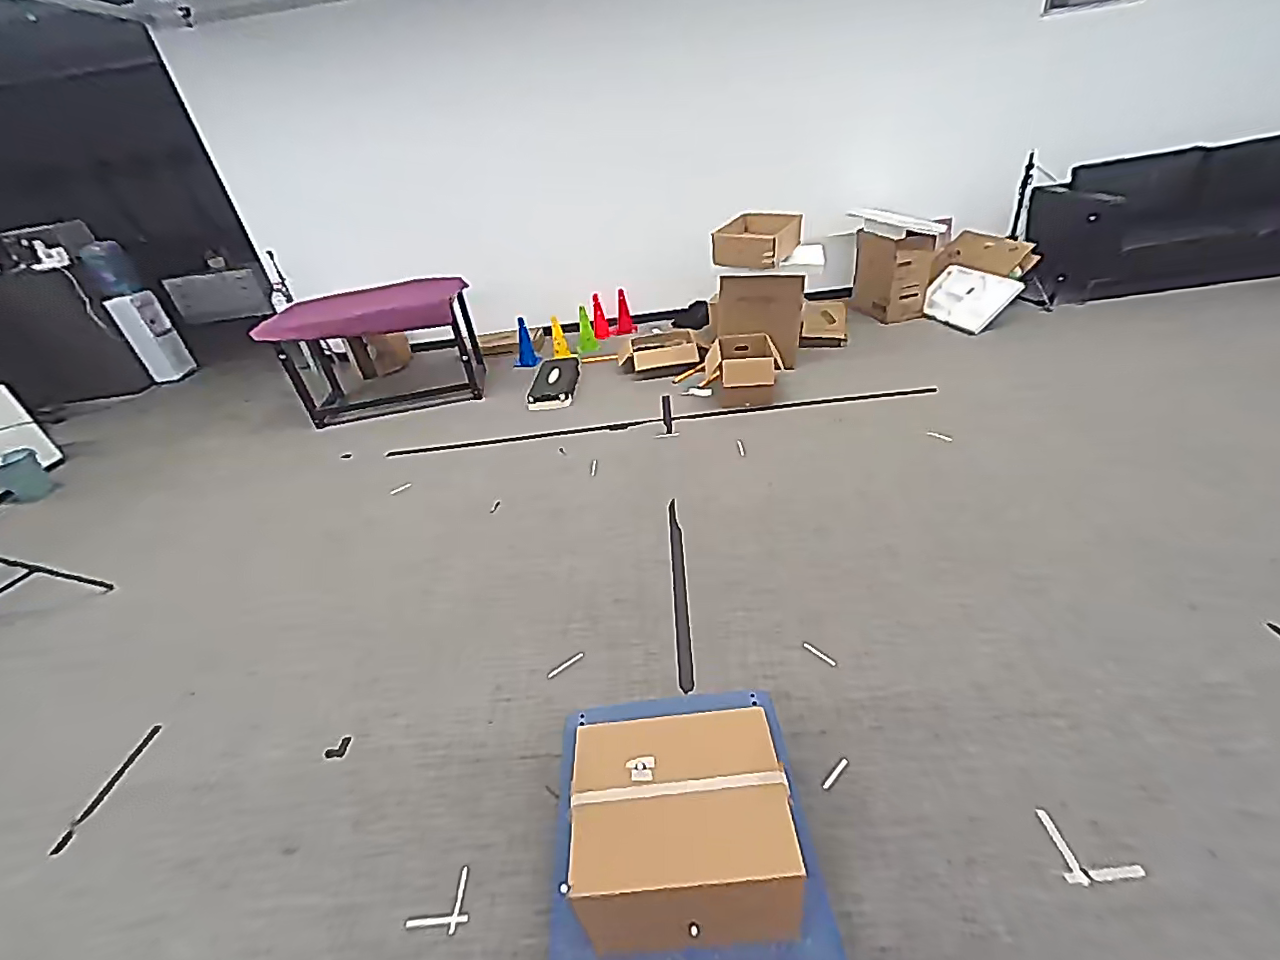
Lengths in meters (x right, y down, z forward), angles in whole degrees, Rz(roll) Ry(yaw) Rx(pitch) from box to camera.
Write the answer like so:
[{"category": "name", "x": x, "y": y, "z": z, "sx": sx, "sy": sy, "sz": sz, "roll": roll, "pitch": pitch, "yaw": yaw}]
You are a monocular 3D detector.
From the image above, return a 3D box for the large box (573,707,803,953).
[{"category": "large box", "x": 0.094, "y": 0.726, "z": 1.128, "sx": 0.408, "sy": 0.320, "sz": 0.320, "roll": -8, "pitch": 33, "yaw": 2}]
